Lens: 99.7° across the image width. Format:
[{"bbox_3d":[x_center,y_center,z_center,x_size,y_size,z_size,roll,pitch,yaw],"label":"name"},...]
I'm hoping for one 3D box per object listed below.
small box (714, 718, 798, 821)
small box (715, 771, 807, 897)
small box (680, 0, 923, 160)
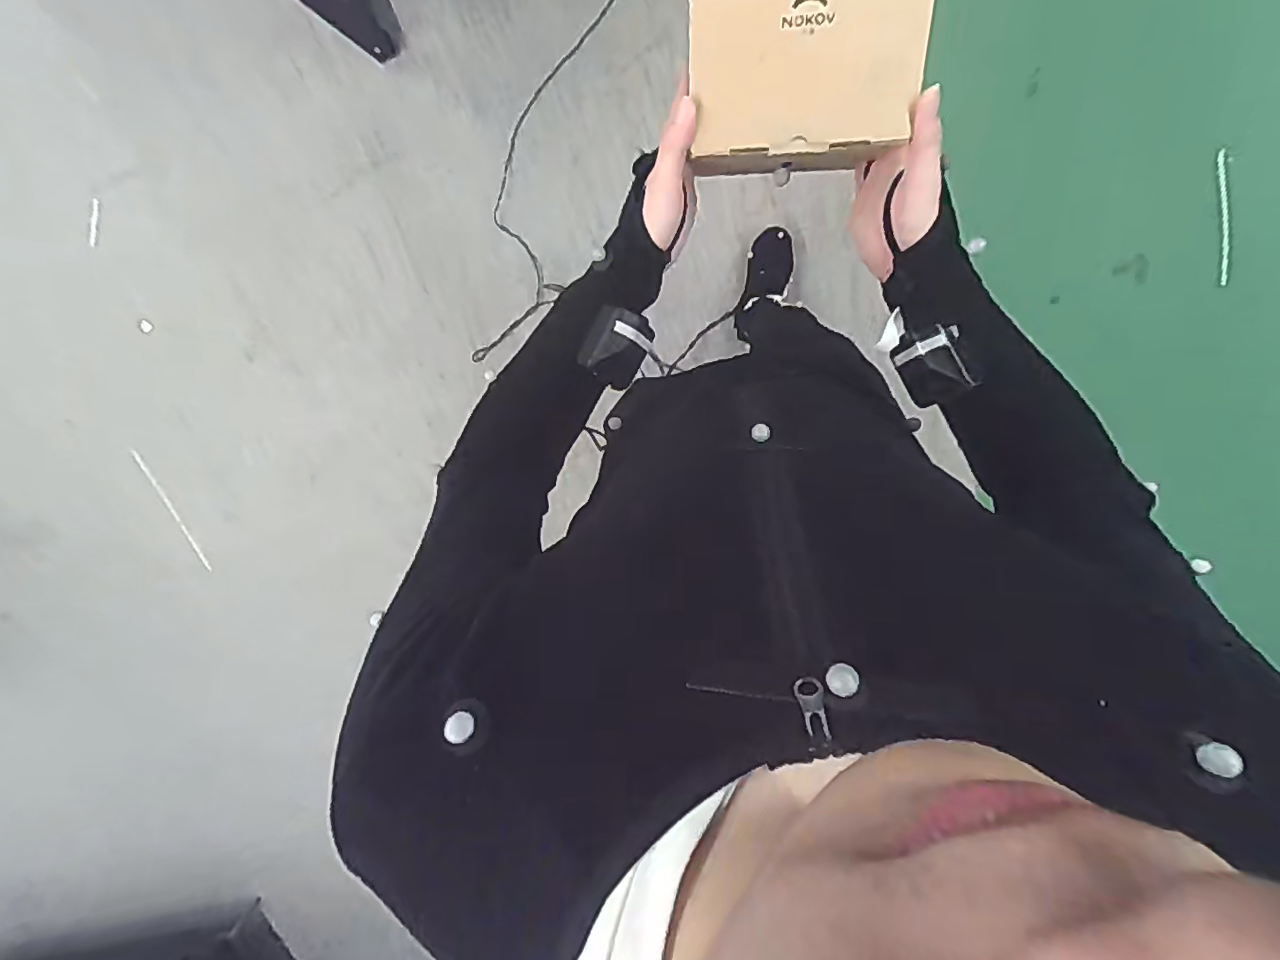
[{"bbox_3d":[0.282,0.717,1.342,0.168,0.176,0.179,-13,108,11],"label":"small box"},{"bbox_3d":[0.259,0.766,1.188,0.168,0.176,0.179,-11,108,11],"label":"small box"},{"bbox_3d":[0.119,-0.368,0.439,0.168,0.176,0.179,0,115,7],"label":"small box"}]
